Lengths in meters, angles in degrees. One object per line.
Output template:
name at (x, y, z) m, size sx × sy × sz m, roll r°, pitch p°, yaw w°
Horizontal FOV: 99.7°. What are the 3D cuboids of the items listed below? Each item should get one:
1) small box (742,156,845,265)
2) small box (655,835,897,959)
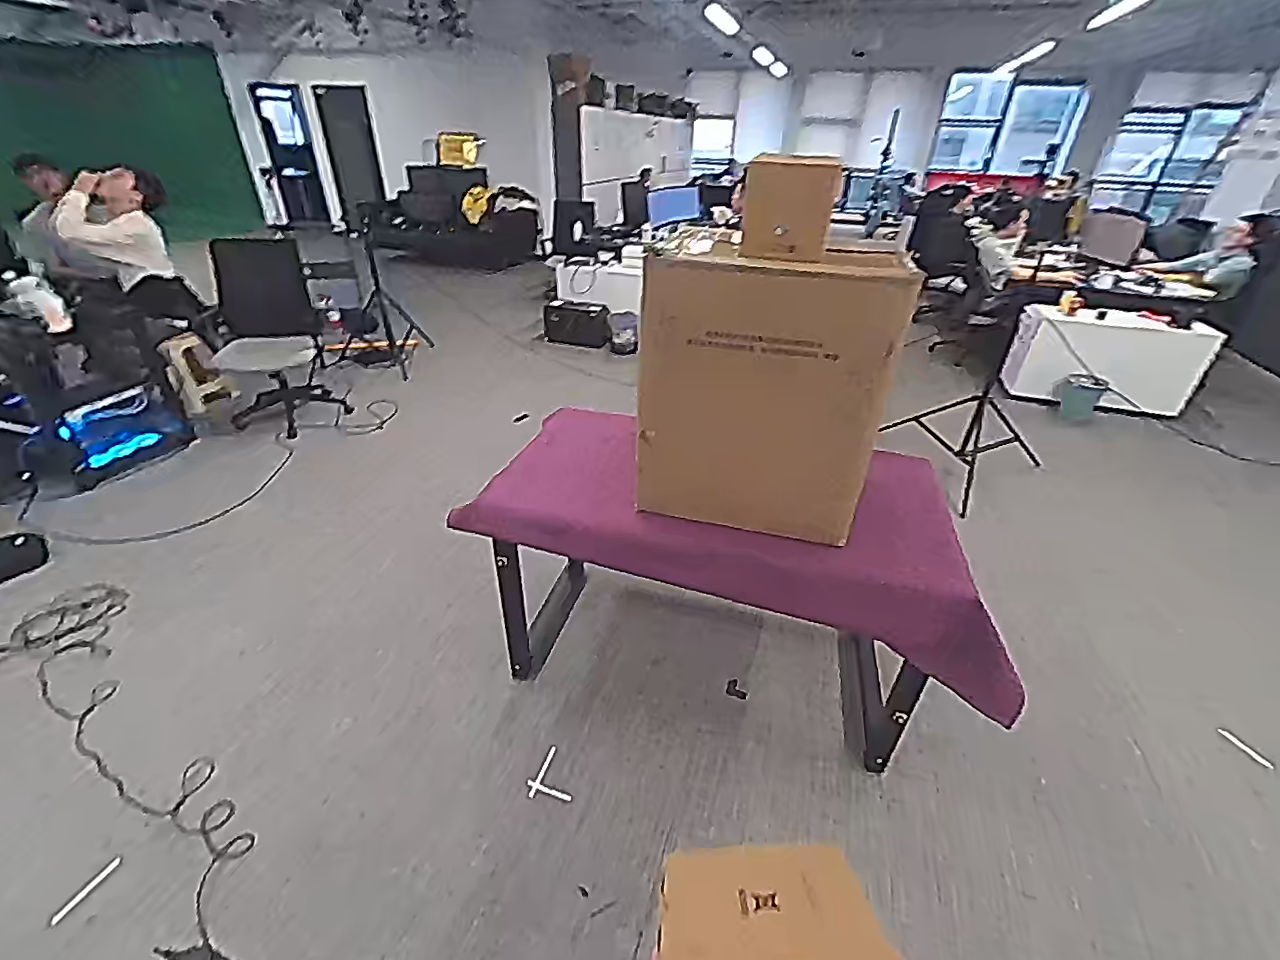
small box at (0.305, -0.543, 1.084) m, size 0.168 × 0.176 × 0.179 m, roll 11°, pitch 36°, yaw 15°
small box at (0.110, 0.434, 0.453) m, size 0.179 × 0.176 × 0.168 m, roll -5°, pitch -5°, yaw 4°
